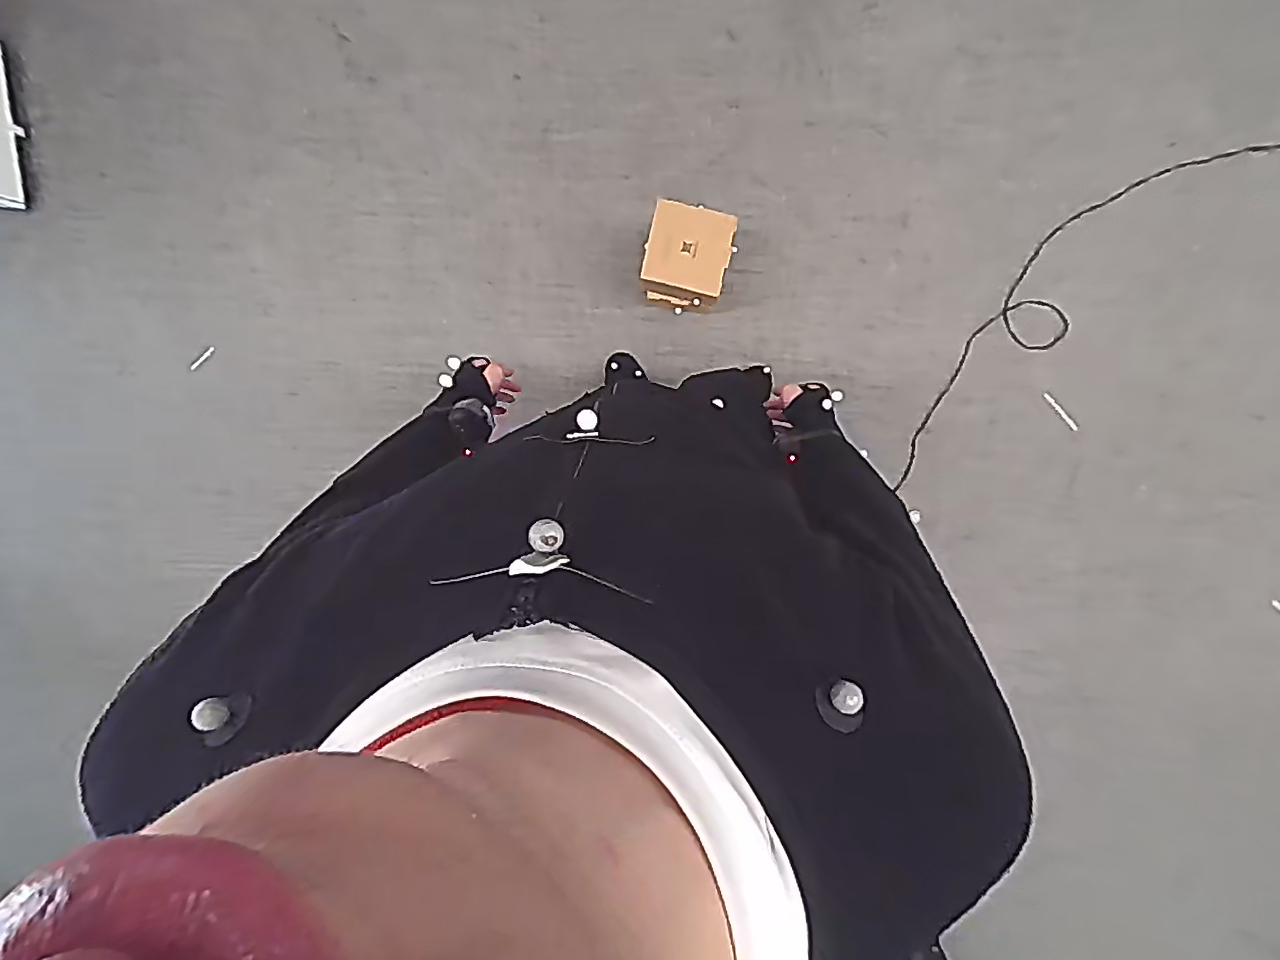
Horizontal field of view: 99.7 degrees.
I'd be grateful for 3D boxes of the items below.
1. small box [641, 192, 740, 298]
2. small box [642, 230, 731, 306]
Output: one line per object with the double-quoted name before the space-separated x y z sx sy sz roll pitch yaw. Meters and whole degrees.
"small box" 0.111 -0.516 1.214 0.179 0.176 0.168 15 101 2
"small box" 0.120 -0.554 1.364 0.179 0.176 0.168 -19 98 10
